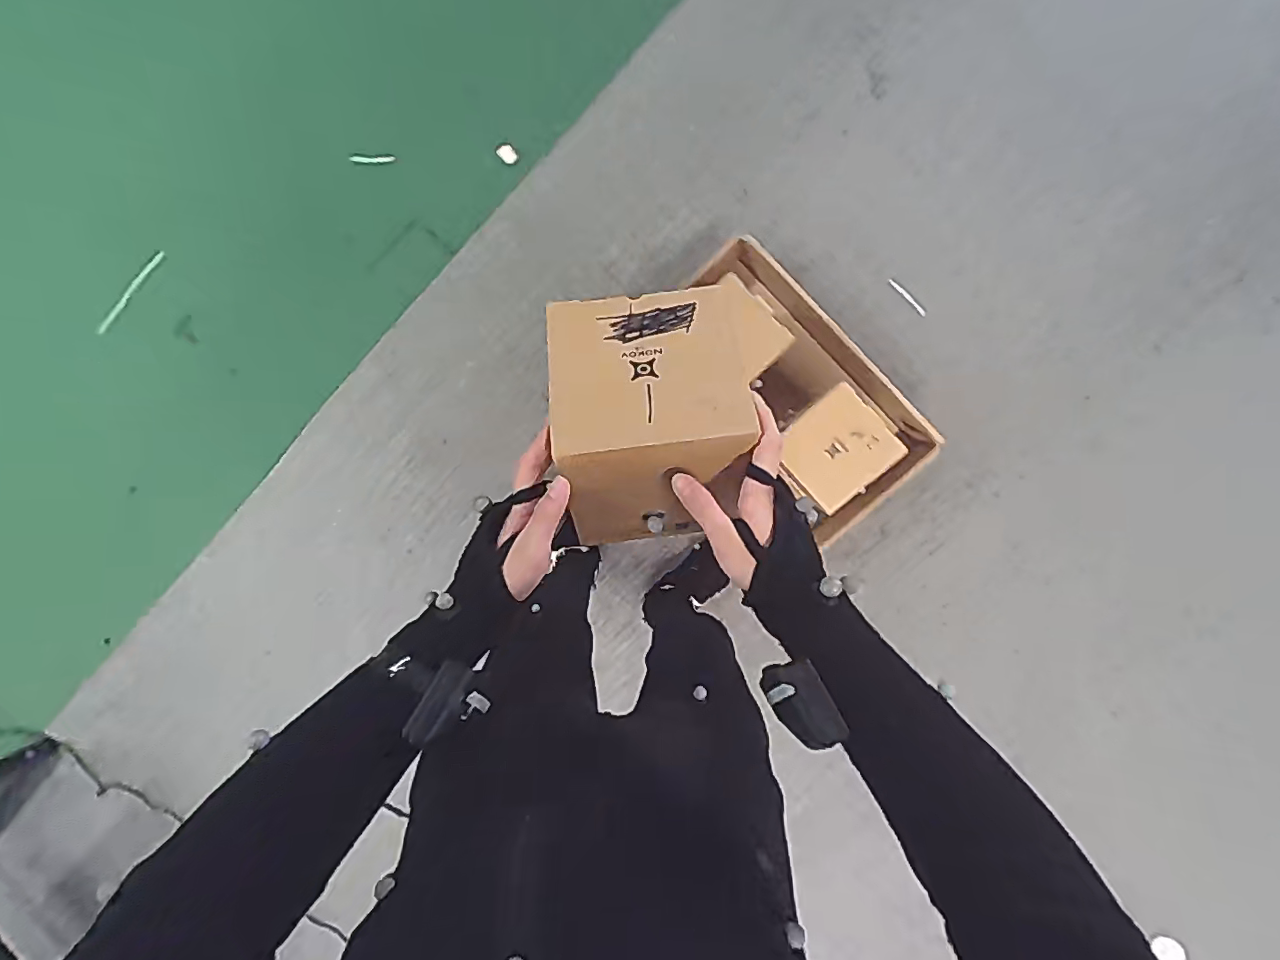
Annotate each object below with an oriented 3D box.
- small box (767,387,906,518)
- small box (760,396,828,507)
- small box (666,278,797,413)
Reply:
[{"bbox_3d":[0.359,-0.051,1.026,0.179,0.176,0.168,-41,87,9],"label":"small box"},{"bbox_3d":[0.382,-0.061,1.190,0.179,0.176,0.168,-41,87,9],"label":"small box"},{"bbox_3d":[0.170,-0.246,1.037,0.179,0.176,0.168,-43,87,9],"label":"small box"}]
